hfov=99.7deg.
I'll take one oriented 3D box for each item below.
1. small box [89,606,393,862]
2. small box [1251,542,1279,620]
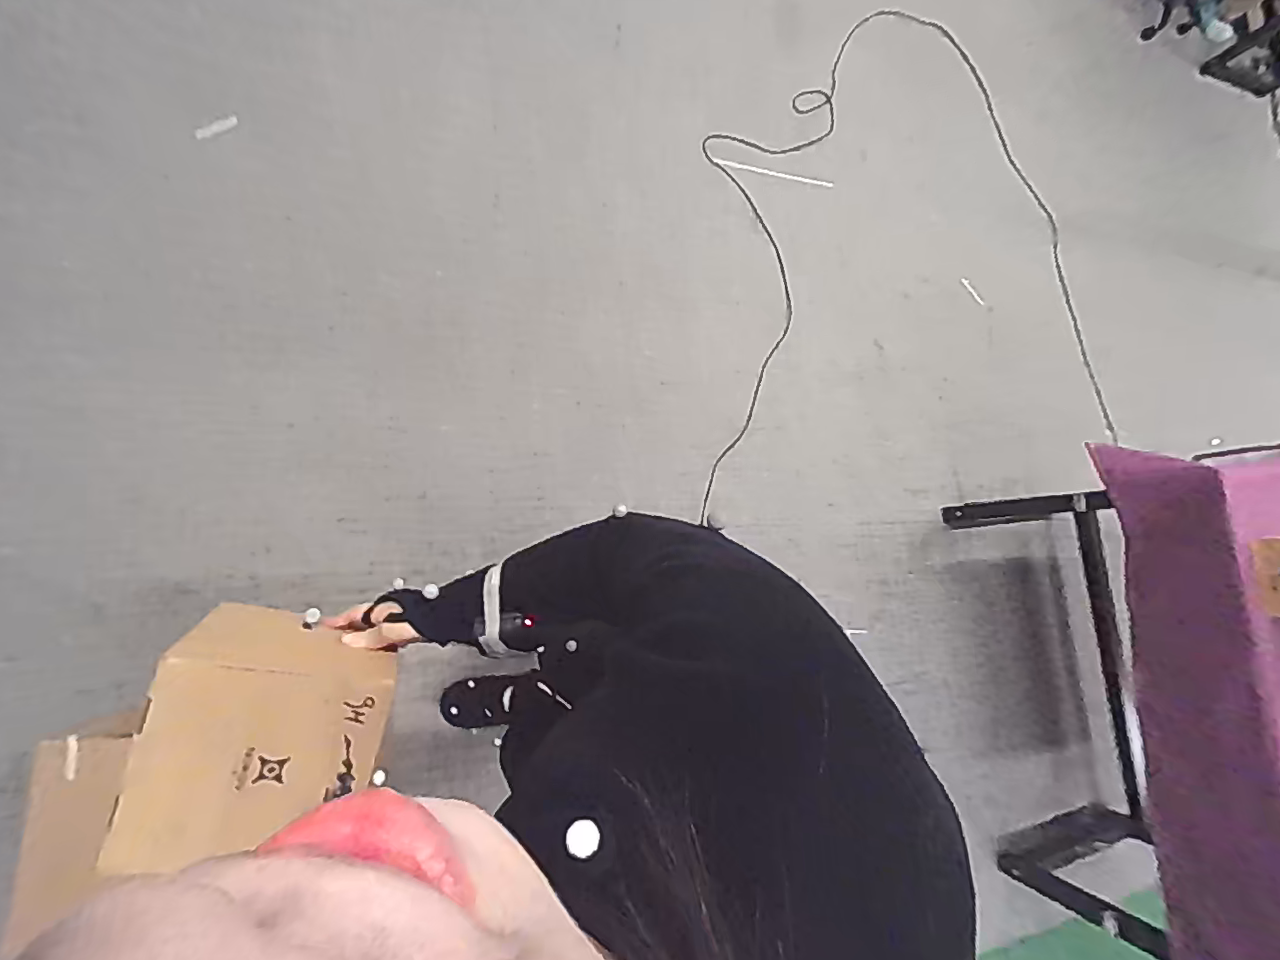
[{"bbox_3d":[-0.353,0.229,0.522,0.179,0.176,0.168,16,86,-23],"label":"small box"},{"bbox_3d":[1.446,0.211,1.129,0.179,0.176,0.168,-1,82,-19],"label":"small box"}]
